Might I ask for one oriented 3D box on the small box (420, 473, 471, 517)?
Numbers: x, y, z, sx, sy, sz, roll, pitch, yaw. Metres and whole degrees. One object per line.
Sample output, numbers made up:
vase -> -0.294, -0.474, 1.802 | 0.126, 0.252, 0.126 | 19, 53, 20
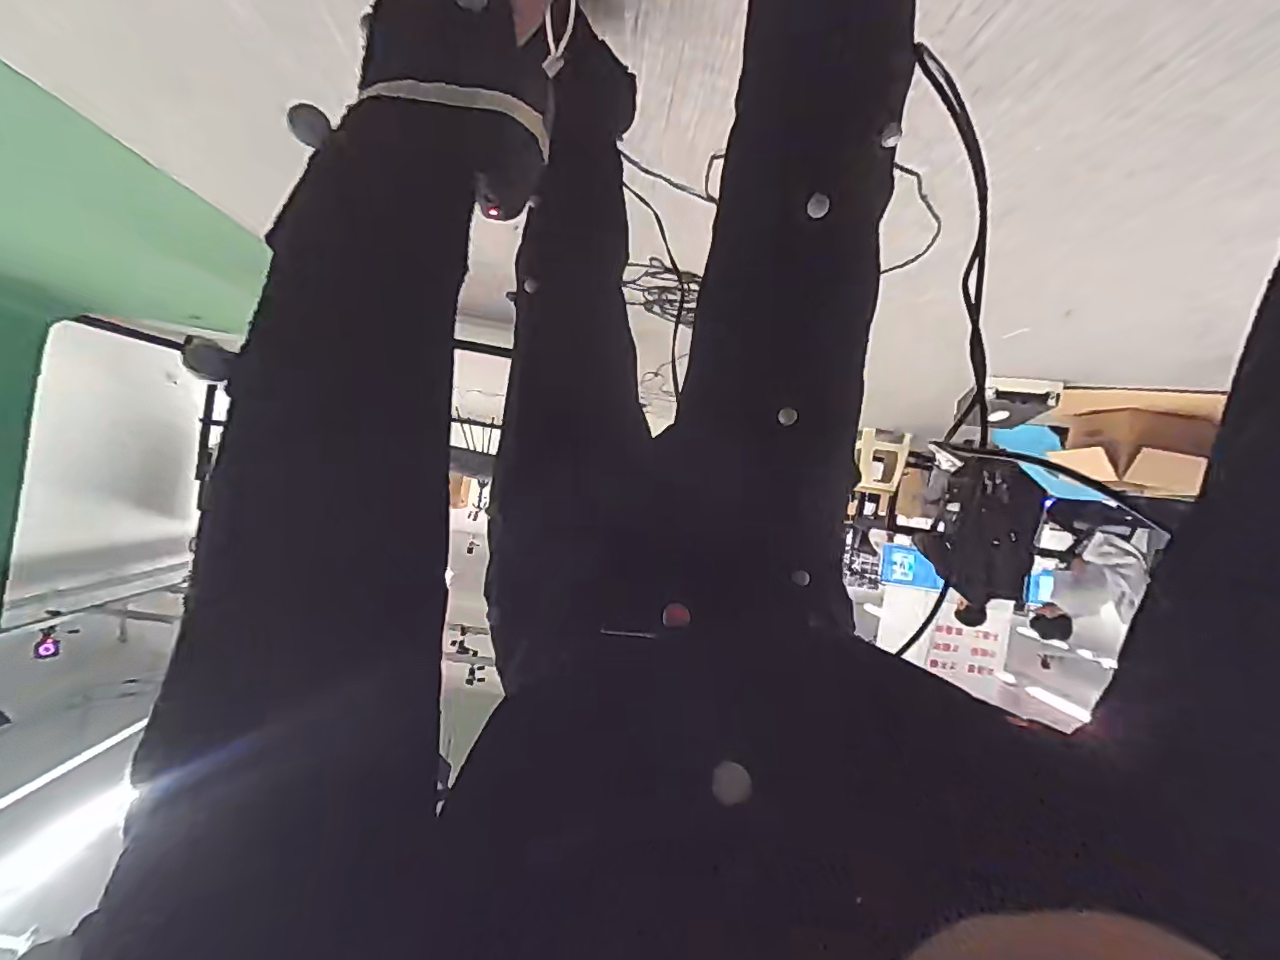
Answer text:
small box -> -0.865, 0.062, 2.418 | 0.168, 0.176, 0.179 | 9, 179, -4
